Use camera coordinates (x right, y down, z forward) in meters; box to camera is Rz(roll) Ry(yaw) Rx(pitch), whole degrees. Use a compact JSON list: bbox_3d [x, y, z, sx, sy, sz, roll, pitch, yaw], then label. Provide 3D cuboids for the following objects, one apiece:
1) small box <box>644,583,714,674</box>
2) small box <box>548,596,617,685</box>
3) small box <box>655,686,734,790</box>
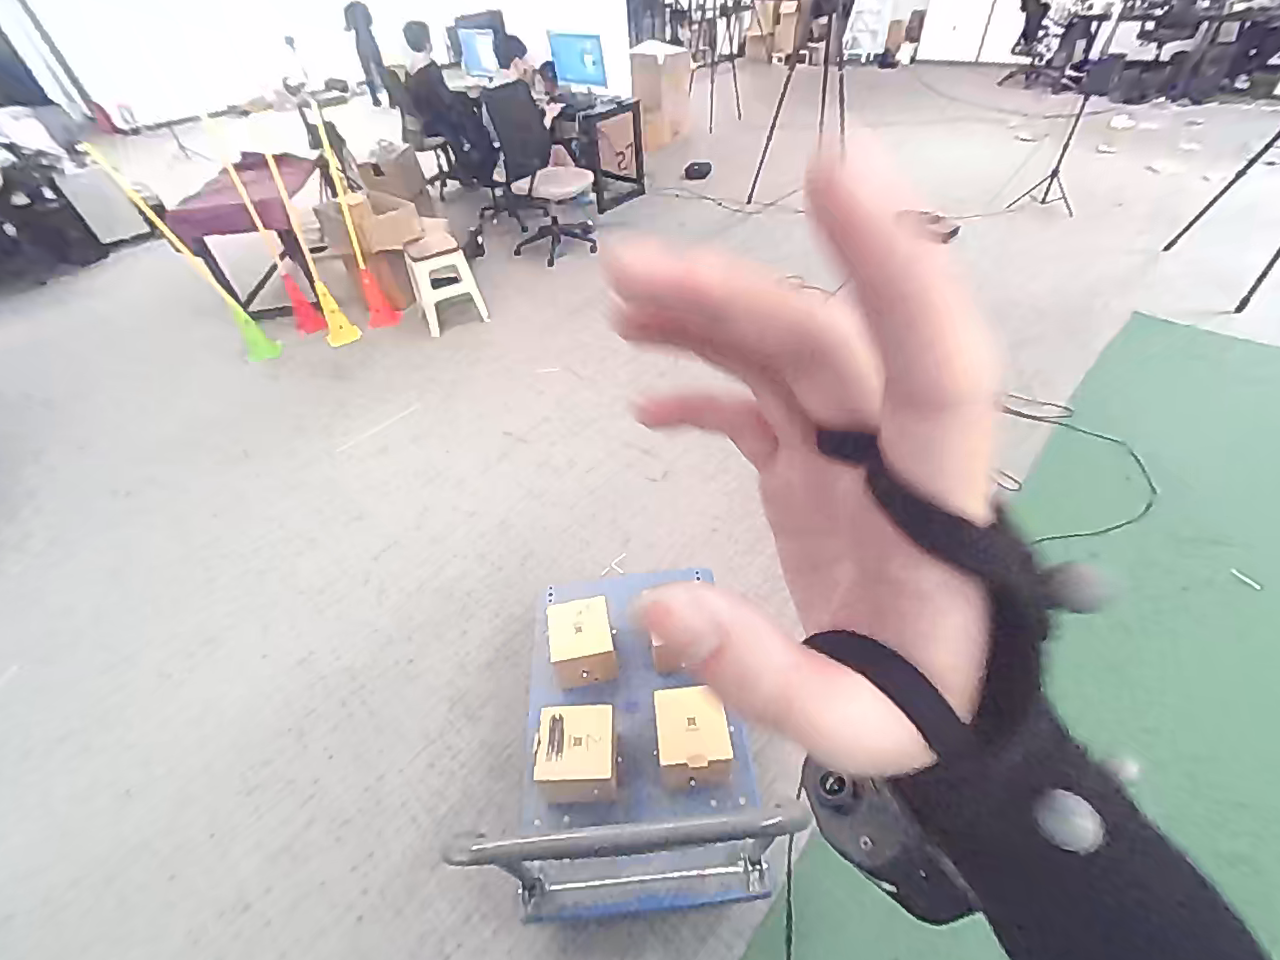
[{"bbox_3d":[0.106,0.418,1.523,0.168,0.176,0.179,-10,46,-4],"label":"small box"},{"bbox_3d":[-0.160,0.455,1.510,0.168,0.176,0.179,-9,45,-5],"label":"small box"},{"bbox_3d":[0.125,0.627,1.315,0.168,0.176,0.179,-6,45,-1],"label":"small box"}]
